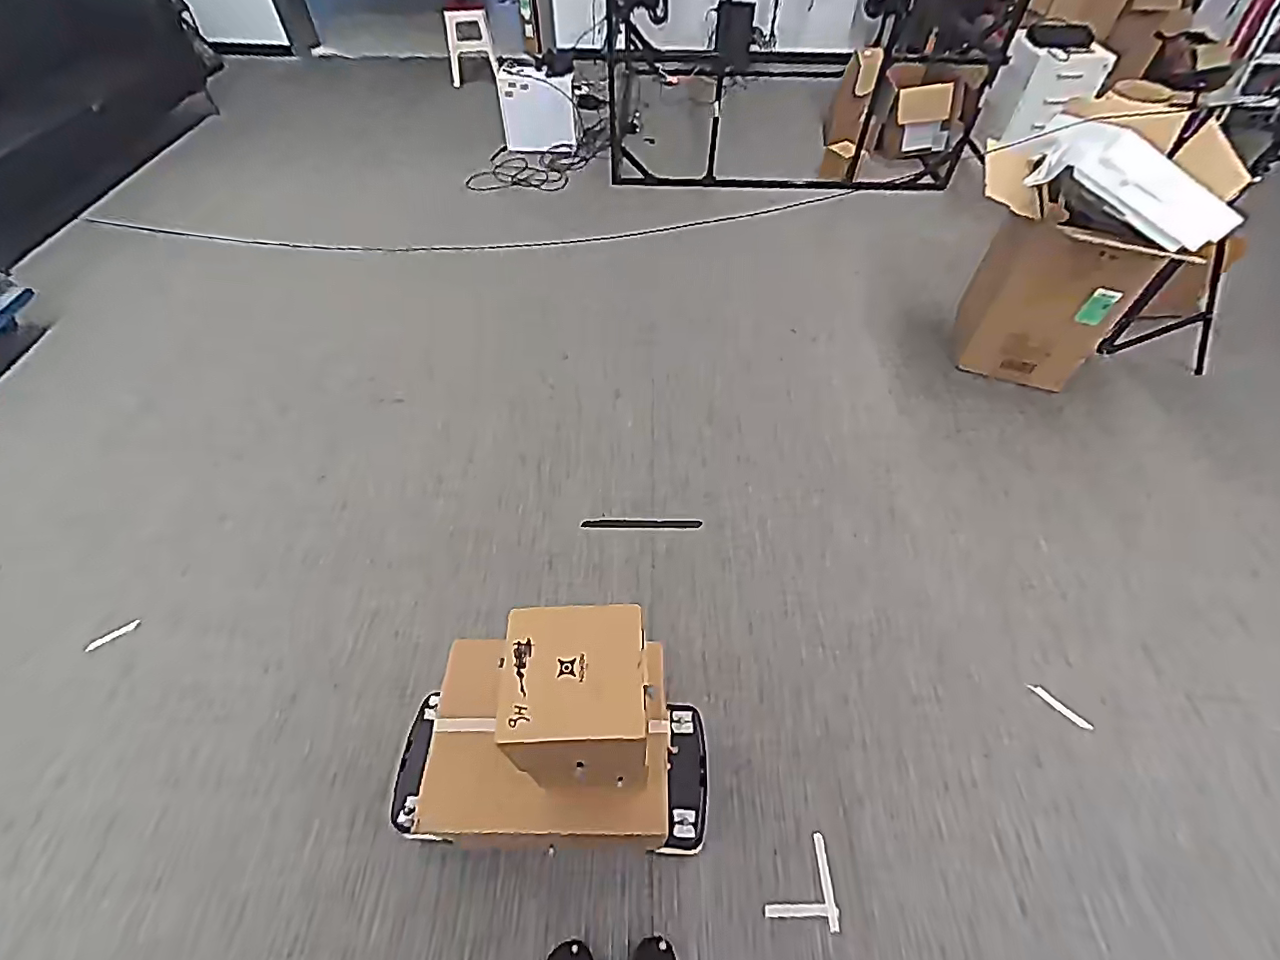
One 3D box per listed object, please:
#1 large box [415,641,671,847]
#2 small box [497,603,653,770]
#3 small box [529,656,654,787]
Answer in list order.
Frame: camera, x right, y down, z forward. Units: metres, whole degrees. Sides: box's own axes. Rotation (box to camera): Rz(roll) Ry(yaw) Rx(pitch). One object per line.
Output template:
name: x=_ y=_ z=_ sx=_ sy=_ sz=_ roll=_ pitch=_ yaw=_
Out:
large box: x=-0.150 y=0.518 z=1.046 sx=0.408 sy=0.320 sz=0.320 roll=0 pitch=51 yaw=1
small box: x=-0.076 y=0.275 z=0.717 sx=0.179 sy=0.176 sz=0.168 roll=0 pitch=51 yaw=-1
small box: x=-0.070 y=0.374 z=0.848 sx=0.179 sy=0.176 sz=0.168 roll=0 pitch=52 yaw=0
